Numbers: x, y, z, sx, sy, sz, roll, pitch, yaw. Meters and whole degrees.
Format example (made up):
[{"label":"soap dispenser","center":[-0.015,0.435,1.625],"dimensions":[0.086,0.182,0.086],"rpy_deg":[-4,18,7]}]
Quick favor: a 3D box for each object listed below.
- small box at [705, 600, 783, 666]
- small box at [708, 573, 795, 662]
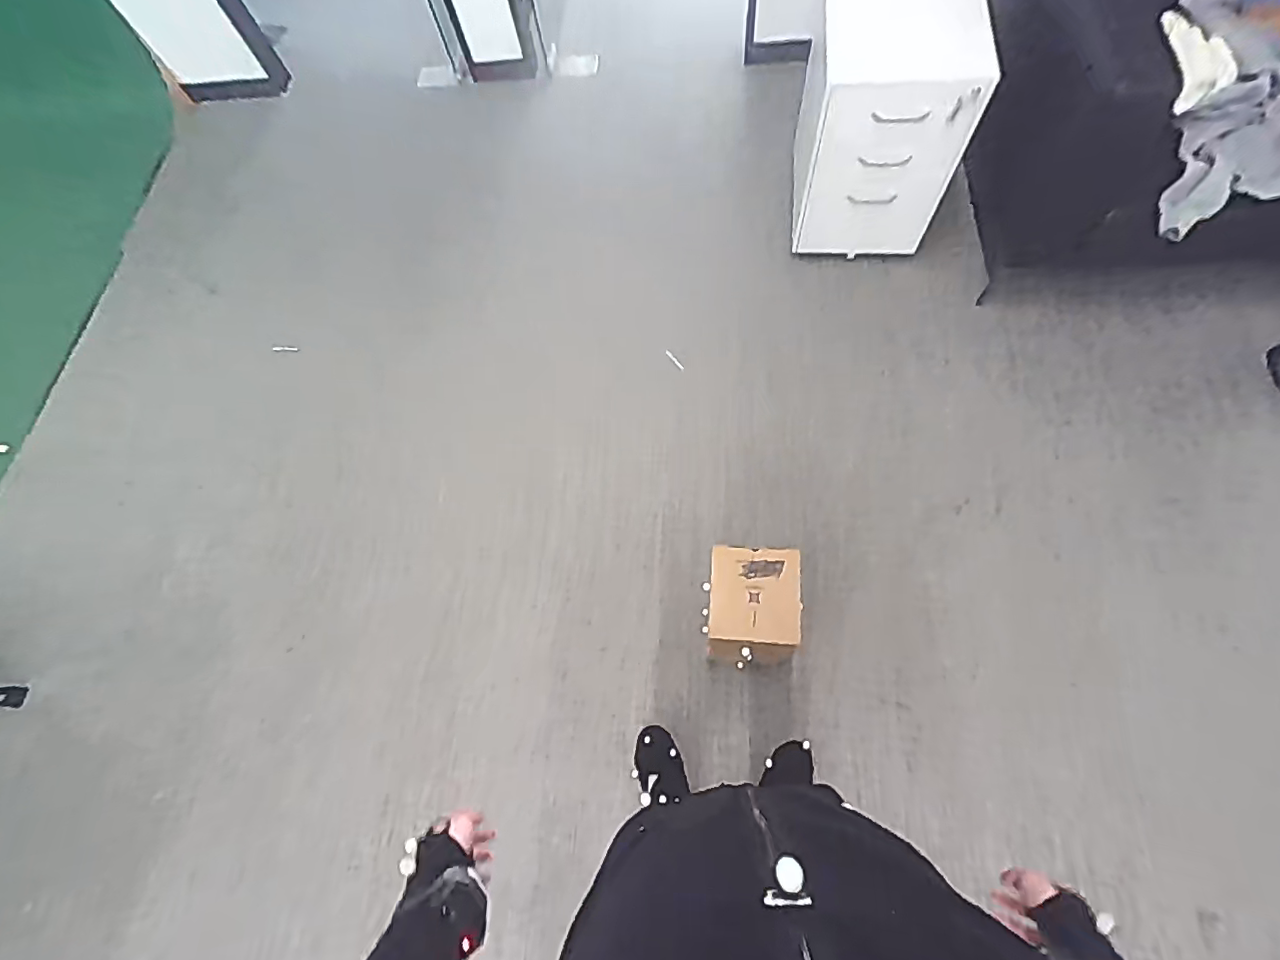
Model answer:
[{"label":"small box","center":[0.260,0.375,1.371],"dimensions":[0.179,0.176,0.168],"rpy_deg":[3,67,6]},{"label":"small box","center":[0.246,0.314,1.221],"dimensions":[0.179,0.176,0.168],"rpy_deg":[3,68,6]}]
